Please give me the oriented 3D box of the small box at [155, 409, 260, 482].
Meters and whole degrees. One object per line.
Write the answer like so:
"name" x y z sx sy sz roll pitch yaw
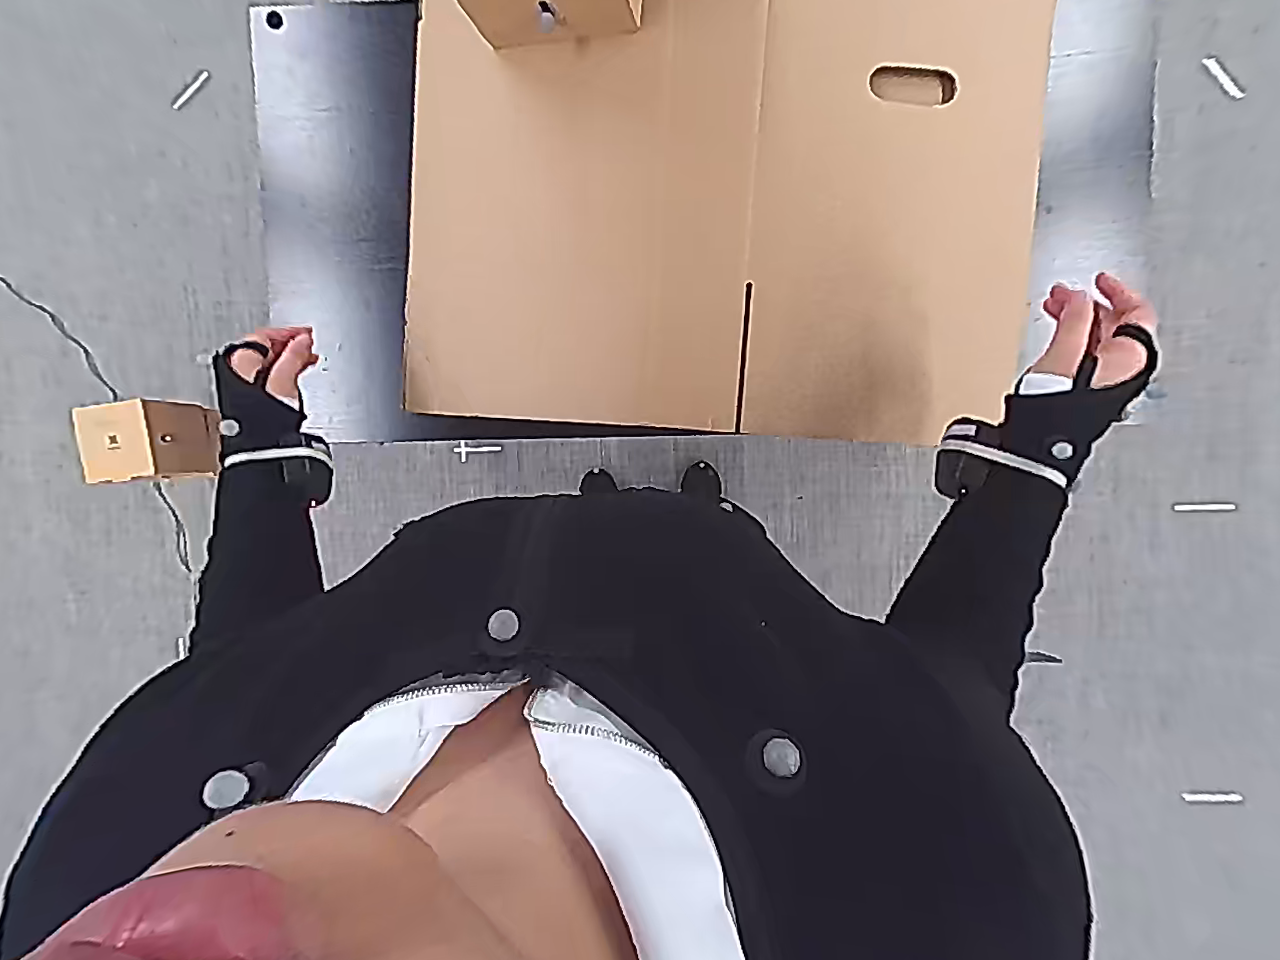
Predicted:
"small box" -1.169 -0.091 1.458 0.168 0.176 0.179 -5 94 3

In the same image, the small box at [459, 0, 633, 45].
"small box" -0.097 -0.551 0.501 0.179 0.176 0.168 6 93 14

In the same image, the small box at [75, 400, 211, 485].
"small box" -1.176 -0.089 1.296 0.168 0.176 0.179 -8 92 2
